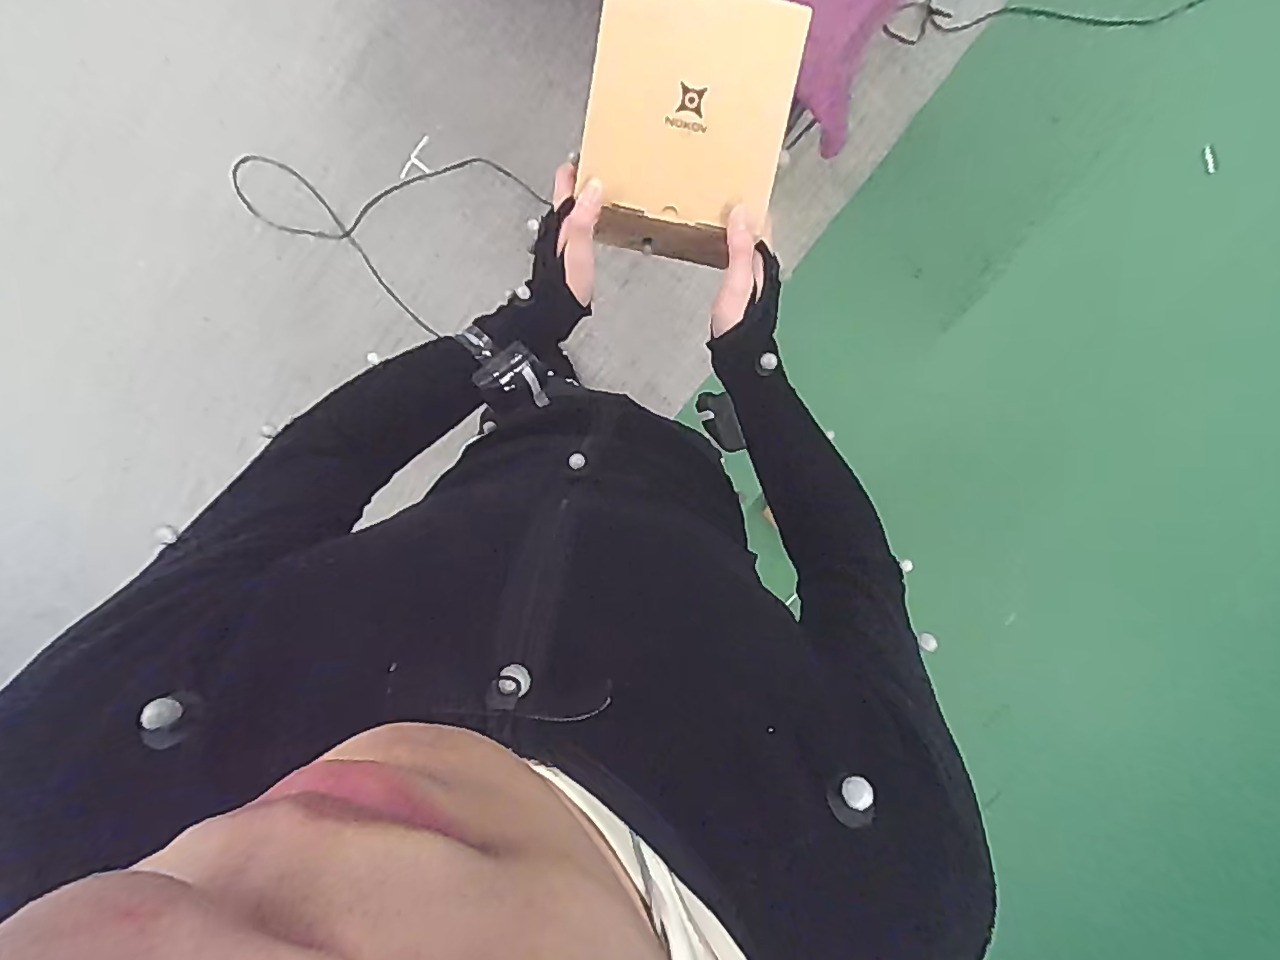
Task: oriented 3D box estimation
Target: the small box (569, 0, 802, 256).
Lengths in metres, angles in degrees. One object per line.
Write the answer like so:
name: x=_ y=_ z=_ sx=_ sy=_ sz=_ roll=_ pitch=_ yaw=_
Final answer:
small box: x=0.030 y=-0.331 z=0.517 sx=0.168 sy=0.176 sz=0.179 roll=9 pitch=104 yaw=-5
